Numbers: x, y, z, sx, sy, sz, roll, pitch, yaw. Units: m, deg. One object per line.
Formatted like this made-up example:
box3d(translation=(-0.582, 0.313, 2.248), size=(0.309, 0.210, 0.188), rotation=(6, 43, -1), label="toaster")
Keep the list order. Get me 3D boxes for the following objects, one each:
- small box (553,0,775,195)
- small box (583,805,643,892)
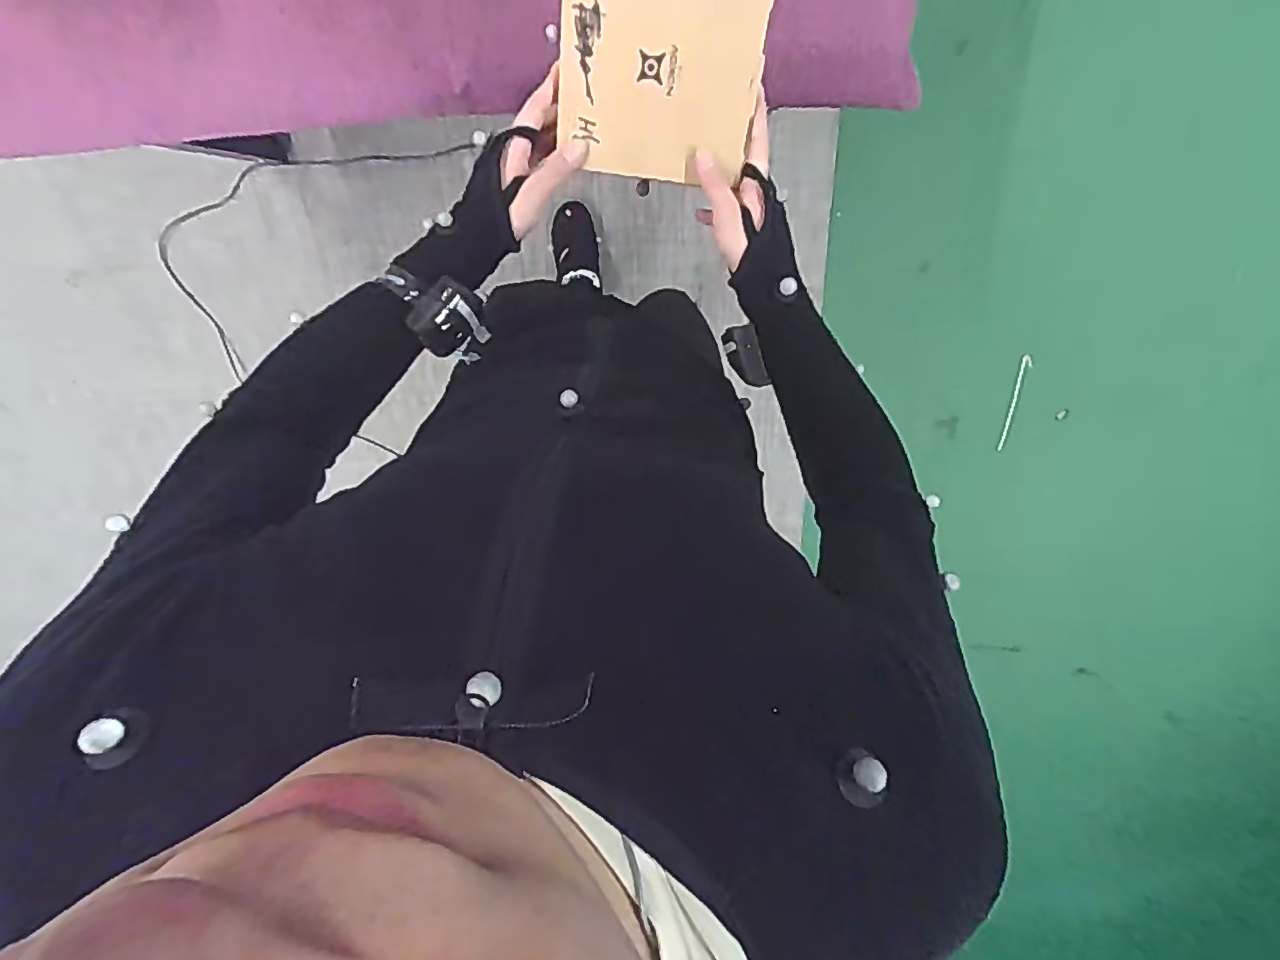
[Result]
box3d(translation=(0.013, -0.389, 0.535), size=(0.179, 0.176, 0.168), rotation=(6, 119, -5), label="small box")
box3d(translation=(-0.085, 1.152, 1.700), size=(0.179, 0.176, 0.168), rotation=(-4, 115, -1), label="small box")
